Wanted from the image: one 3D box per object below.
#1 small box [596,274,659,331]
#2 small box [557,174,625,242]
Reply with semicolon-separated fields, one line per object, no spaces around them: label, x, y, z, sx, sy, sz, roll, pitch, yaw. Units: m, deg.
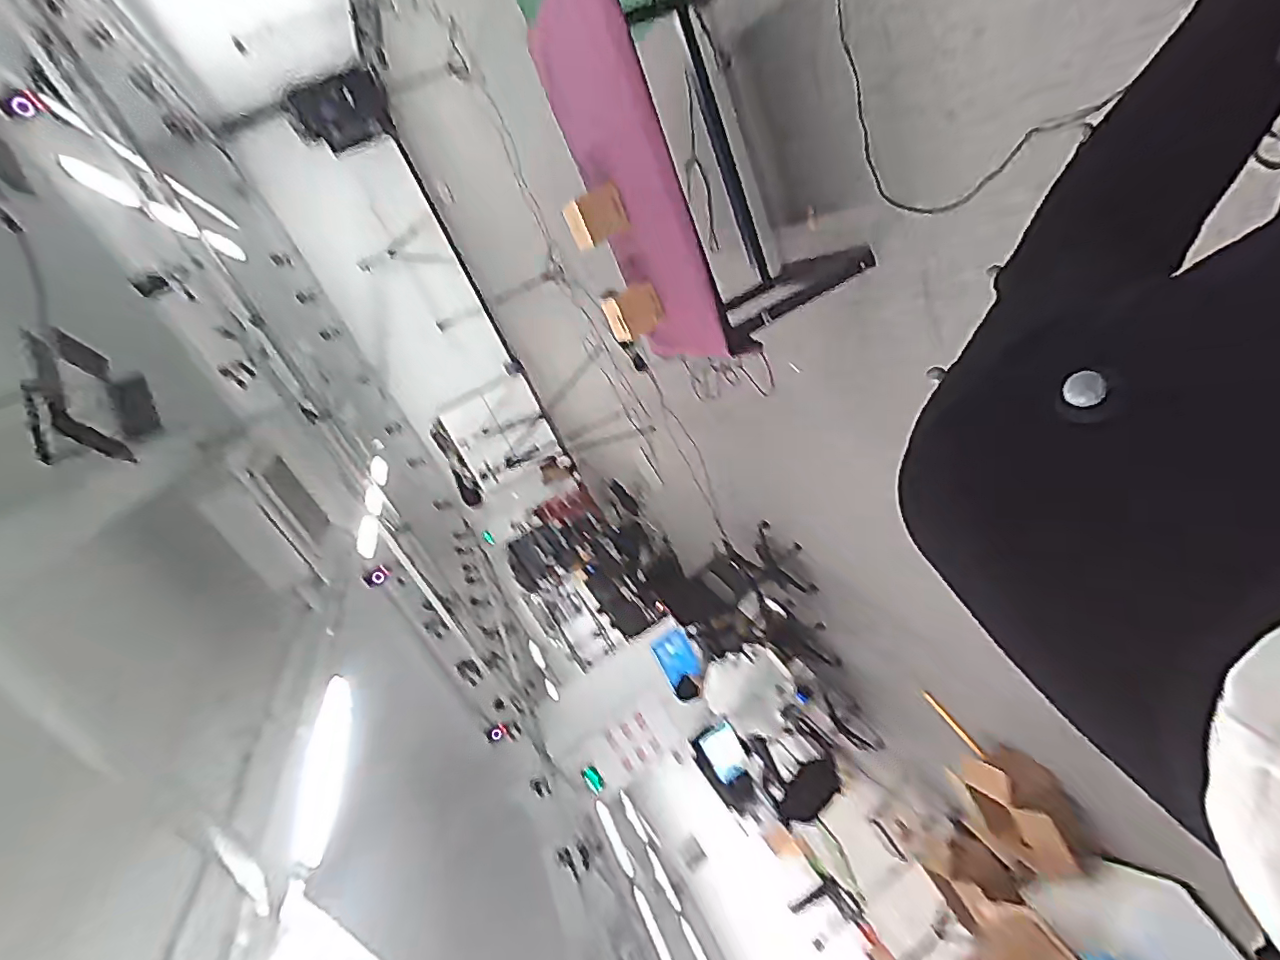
small box;-0.045;-0.702;2.144;0.179;0.176;0.168;32;149;63
small box;-0.177;-1.000;1.995;0.179;0.176;0.168;32;150;61
